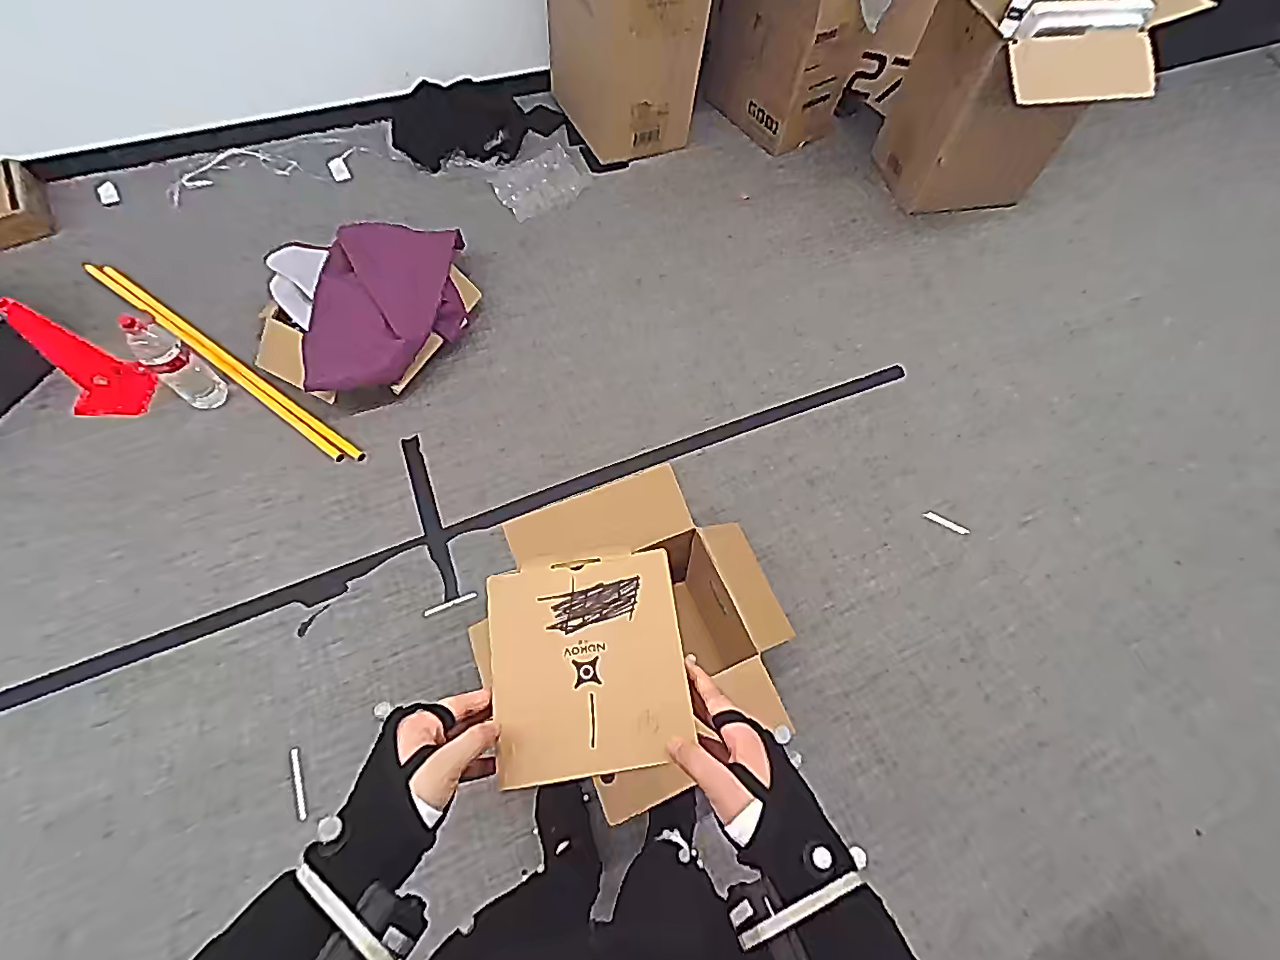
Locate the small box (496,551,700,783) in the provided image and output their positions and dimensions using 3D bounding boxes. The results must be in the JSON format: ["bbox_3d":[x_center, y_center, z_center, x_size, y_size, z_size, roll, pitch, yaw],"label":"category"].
[{"bbox_3d":[-0.040,0.188,0.544,0.168,0.176,0.179,-9,67,-1],"label":"small box"}]
